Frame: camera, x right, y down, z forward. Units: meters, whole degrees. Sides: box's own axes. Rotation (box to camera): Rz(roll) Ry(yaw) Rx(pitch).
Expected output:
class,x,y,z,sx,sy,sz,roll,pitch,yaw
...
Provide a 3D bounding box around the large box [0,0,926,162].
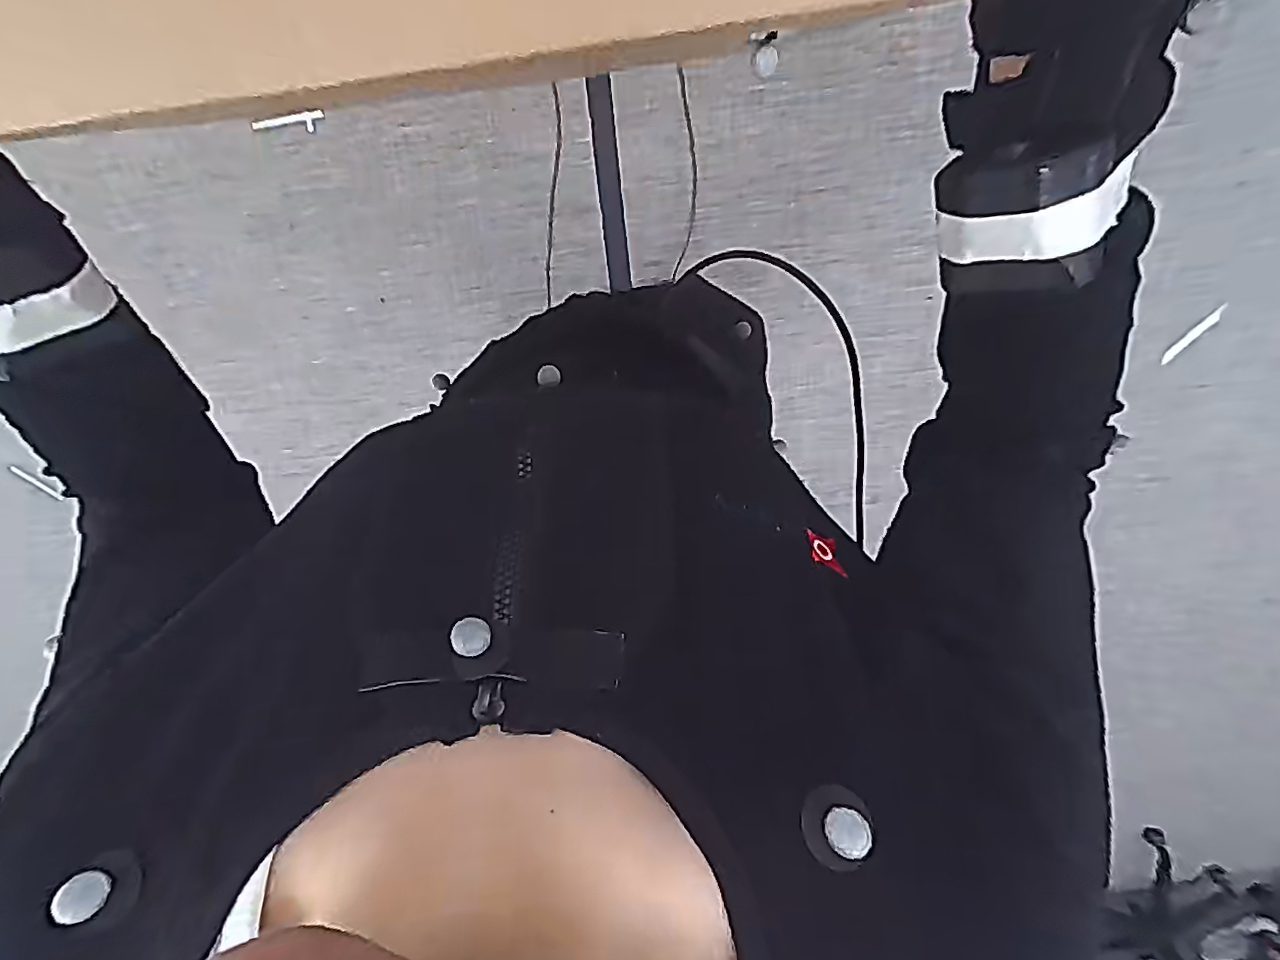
class,x,y,z,sx,sy,sz,roll,pitch,yaw
large box,-0.098,-0.358,0.228,0.408,0.320,0.320,-6,126,4
